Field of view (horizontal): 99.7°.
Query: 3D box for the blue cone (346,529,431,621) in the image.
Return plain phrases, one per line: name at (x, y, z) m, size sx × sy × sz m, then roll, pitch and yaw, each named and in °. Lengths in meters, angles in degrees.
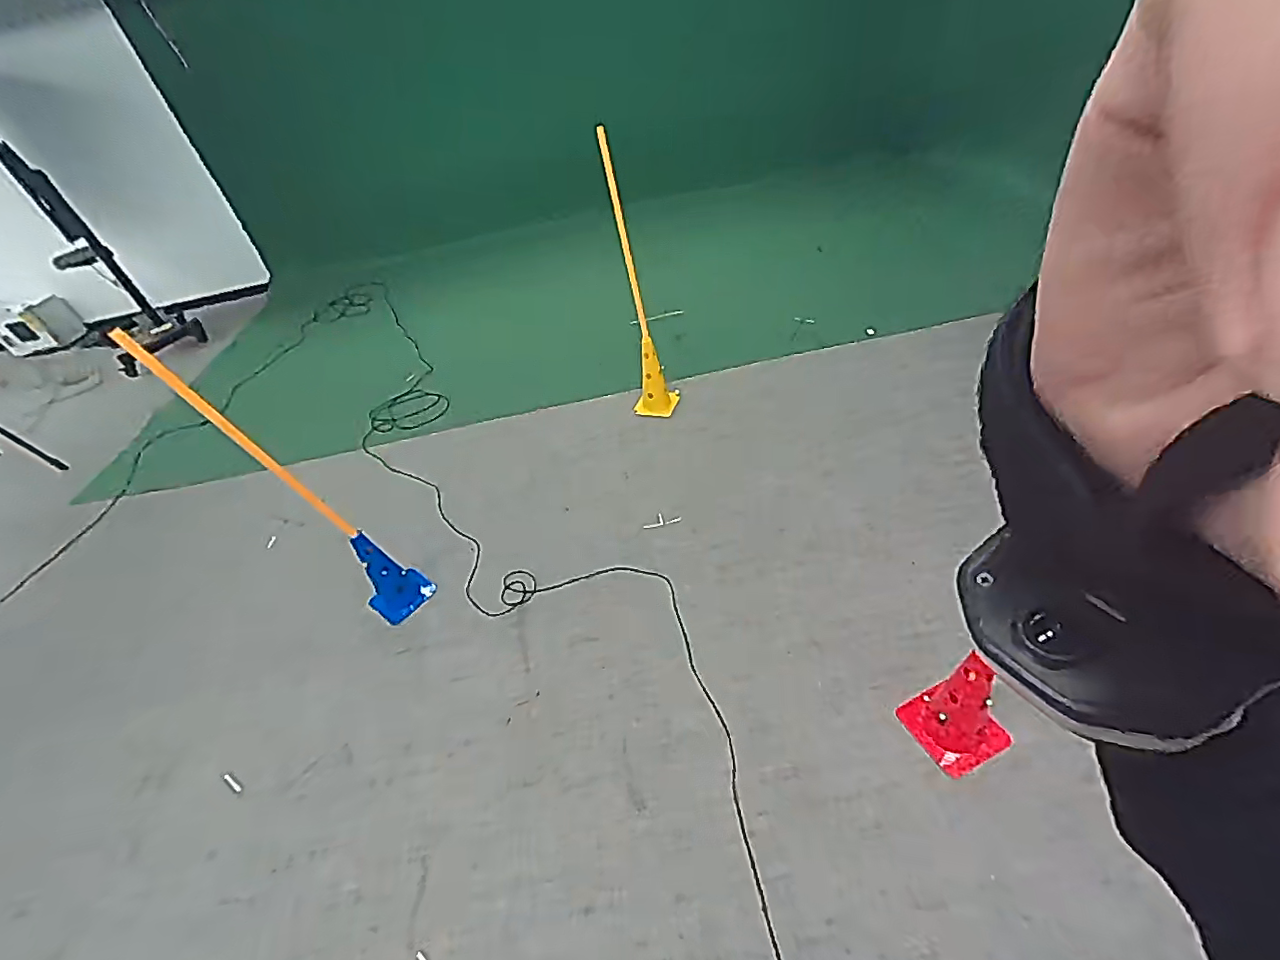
blue cone at (-0.920, 0.310, 1.908) m, size 0.192 × 0.380 × 0.193 m, roll 22°, pitch 53°, yaw 31°
